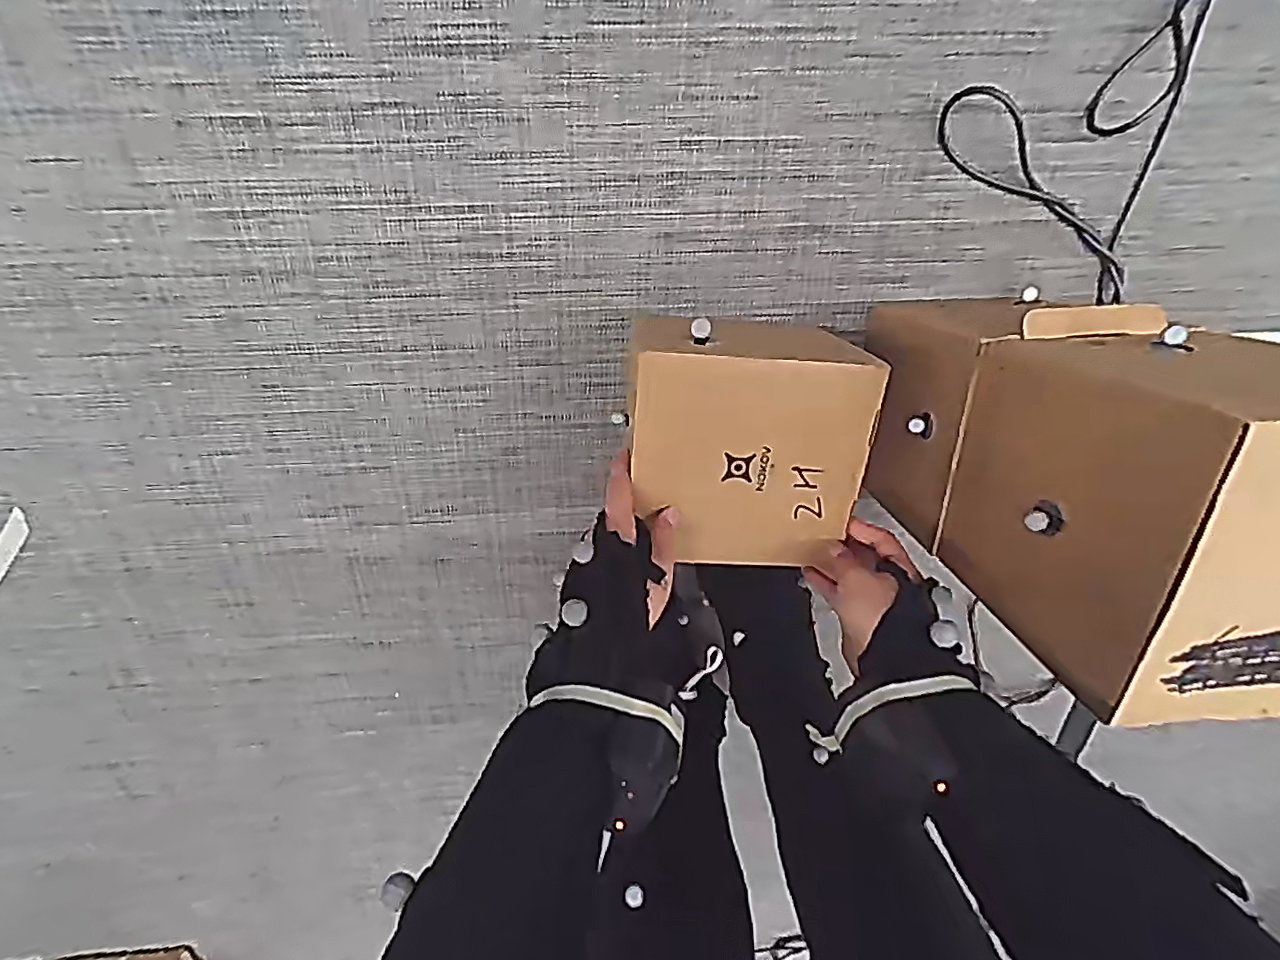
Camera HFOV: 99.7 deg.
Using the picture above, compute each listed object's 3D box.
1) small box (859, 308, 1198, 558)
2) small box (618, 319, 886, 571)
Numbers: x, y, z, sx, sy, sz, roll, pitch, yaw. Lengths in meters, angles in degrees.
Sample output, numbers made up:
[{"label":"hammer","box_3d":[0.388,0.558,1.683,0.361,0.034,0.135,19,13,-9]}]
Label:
[{"label":"small box","box_3d":[0.305,-0.053,0.479,0.168,0.176,0.179,-3,116,-2]},{"label":"small box","box_3d":[0.074,-0.040,0.469,0.179,0.176,0.168,3,115,-4]}]
